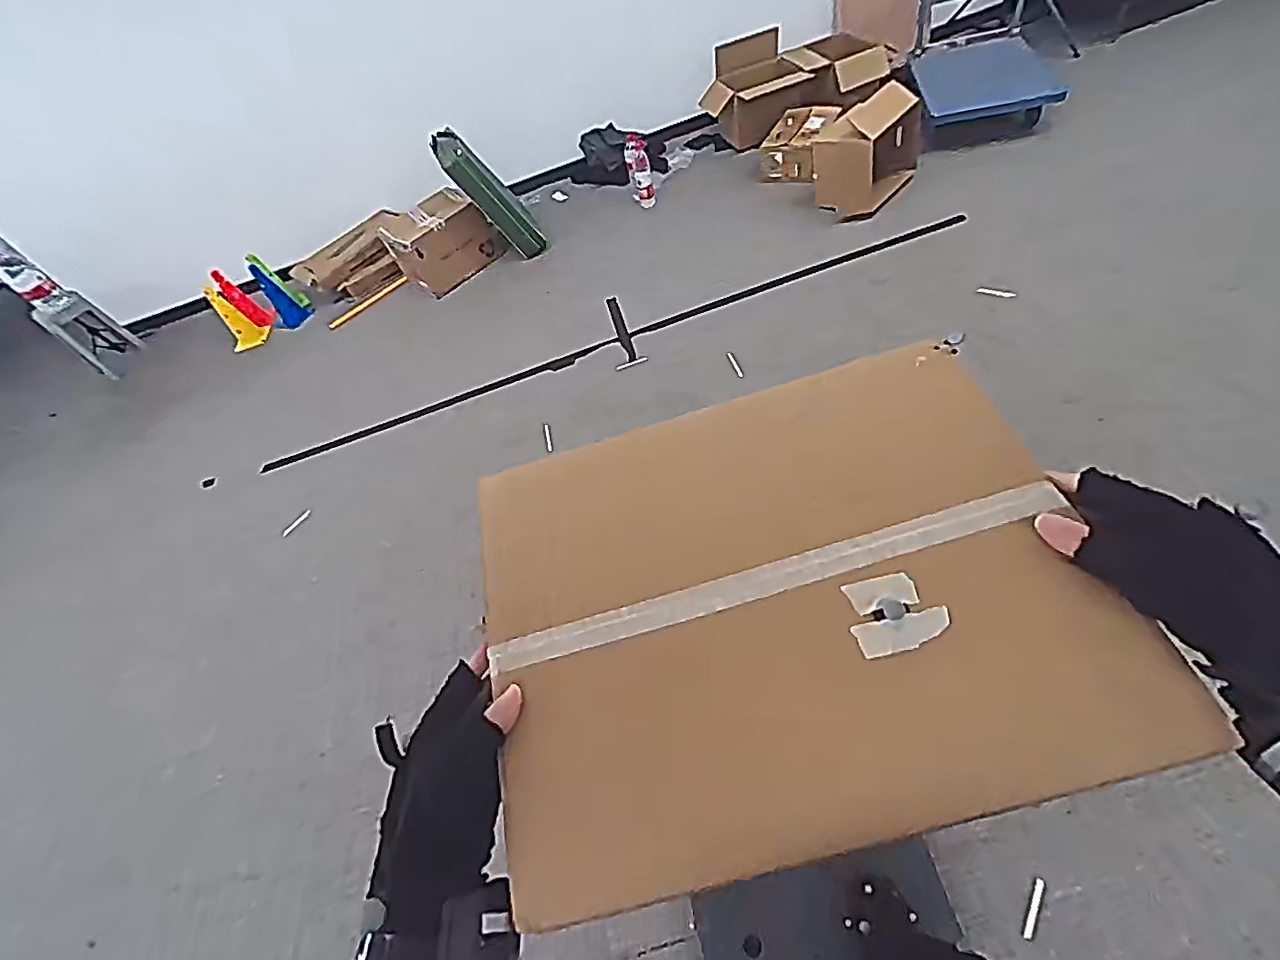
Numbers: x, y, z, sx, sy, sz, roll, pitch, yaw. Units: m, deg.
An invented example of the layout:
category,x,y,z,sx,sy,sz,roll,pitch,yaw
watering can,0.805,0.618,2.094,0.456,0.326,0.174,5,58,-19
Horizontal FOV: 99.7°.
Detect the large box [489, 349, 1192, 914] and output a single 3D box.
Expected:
category,x,y,z,sx,sy,sz,roll,pitch,yaw
large box,0.117,0.145,0.515,0.408,0.320,0.320,-17,59,2
